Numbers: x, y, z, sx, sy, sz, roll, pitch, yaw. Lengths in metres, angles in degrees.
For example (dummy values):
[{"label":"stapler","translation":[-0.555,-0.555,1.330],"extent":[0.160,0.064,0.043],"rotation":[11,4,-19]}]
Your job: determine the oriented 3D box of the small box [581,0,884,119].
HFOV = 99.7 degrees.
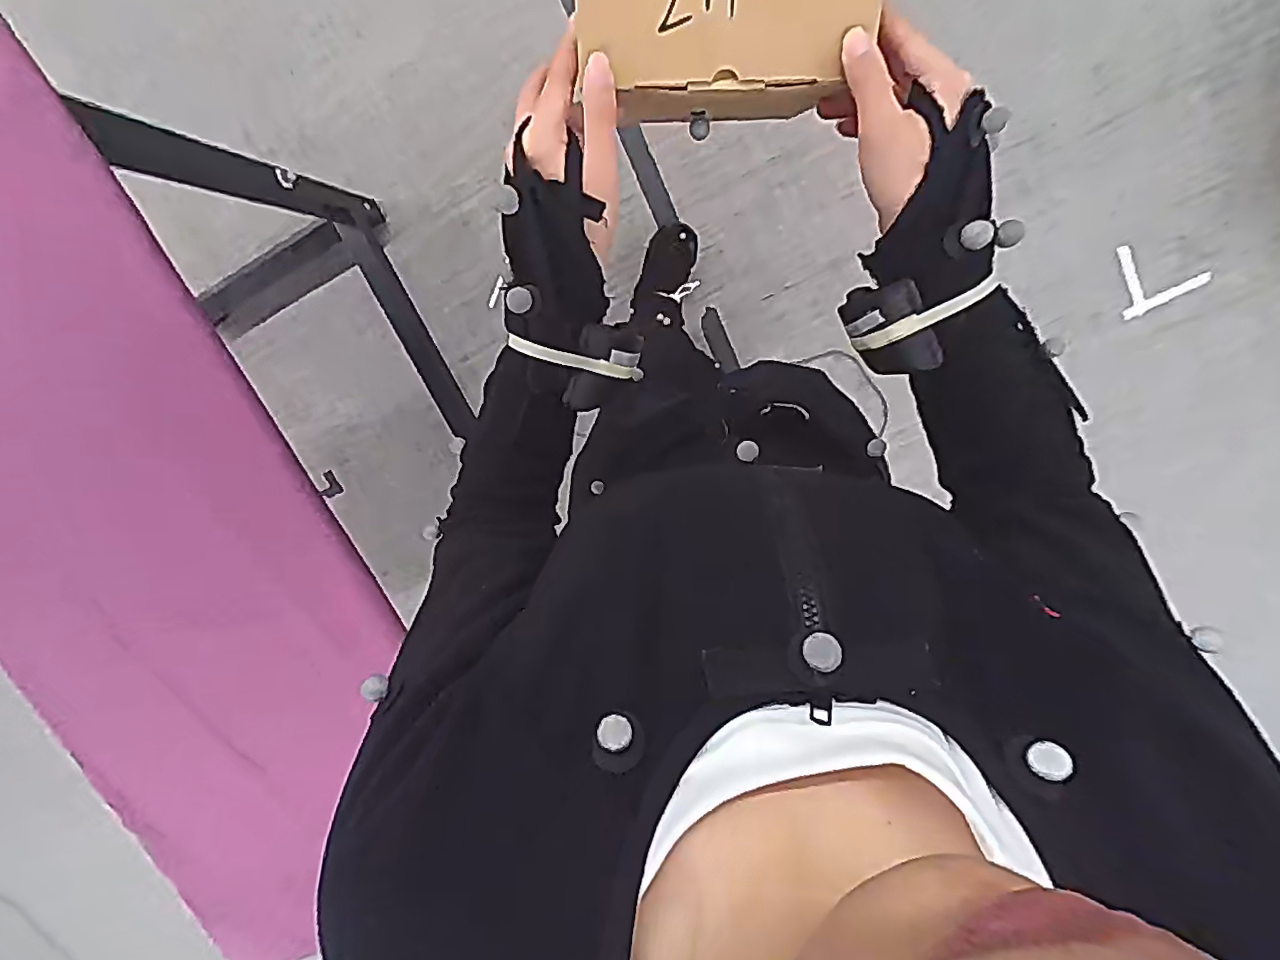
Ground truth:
[{"label":"small box","translation":[0.047,-0.341,0.335],"extent":[0.168,0.176,0.179],"rotation":[-1,117,-1]}]
